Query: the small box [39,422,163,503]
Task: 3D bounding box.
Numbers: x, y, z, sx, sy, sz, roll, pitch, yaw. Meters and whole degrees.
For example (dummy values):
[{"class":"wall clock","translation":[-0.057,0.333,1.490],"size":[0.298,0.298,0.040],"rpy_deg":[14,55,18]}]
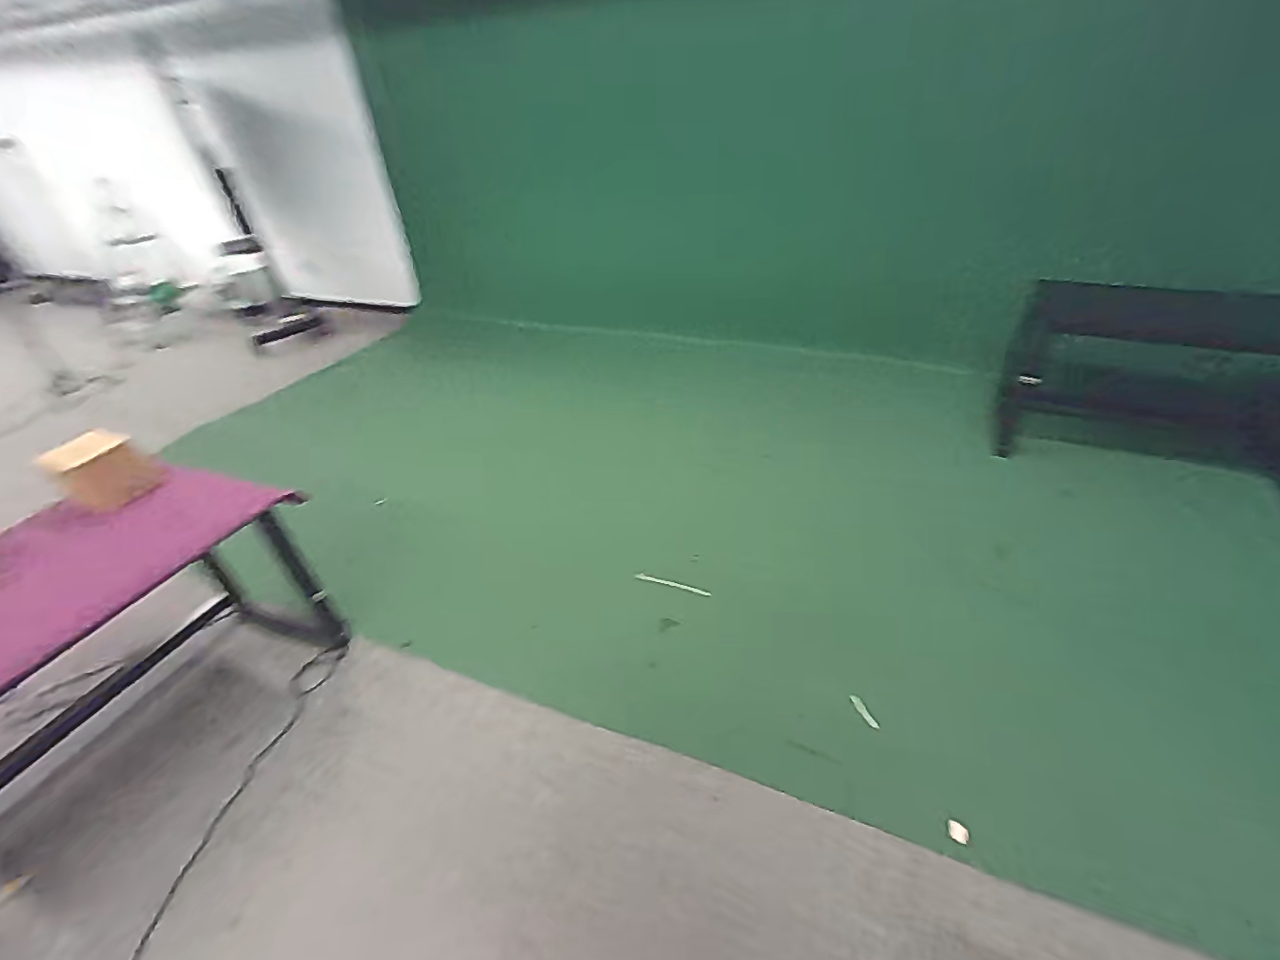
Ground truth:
[{"class":"small box","translation":[-1.609,-0.053,1.623],"size":[0.179,0.176,0.168],"rpy_deg":[12,42,19]}]
